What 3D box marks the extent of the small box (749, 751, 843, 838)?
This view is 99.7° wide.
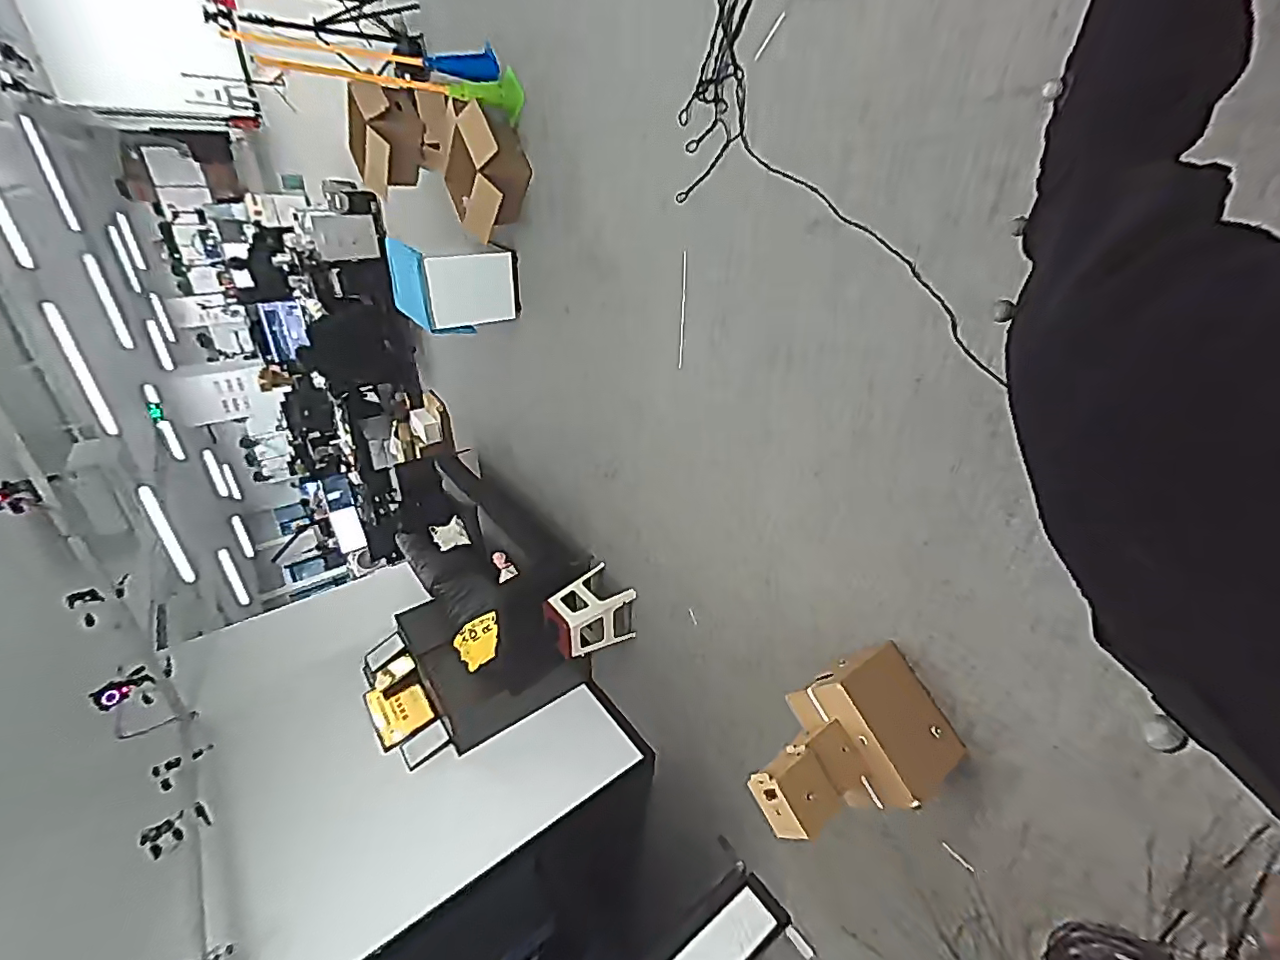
[{"bbox_3d":[0.477,0.951,1.652,0.179,0.176,0.168,58,146,16],"label":"small box"}]

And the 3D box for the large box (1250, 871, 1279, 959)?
[{"bbox_3d":[1.470,1.089,1.032,0.408,0.320,0.320,16,121,50],"label":"large box"}]

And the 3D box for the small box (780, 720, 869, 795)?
[{"bbox_3d":[0.598,0.904,1.755,0.179,0.176,0.168,57,147,20],"label":"small box"}]
